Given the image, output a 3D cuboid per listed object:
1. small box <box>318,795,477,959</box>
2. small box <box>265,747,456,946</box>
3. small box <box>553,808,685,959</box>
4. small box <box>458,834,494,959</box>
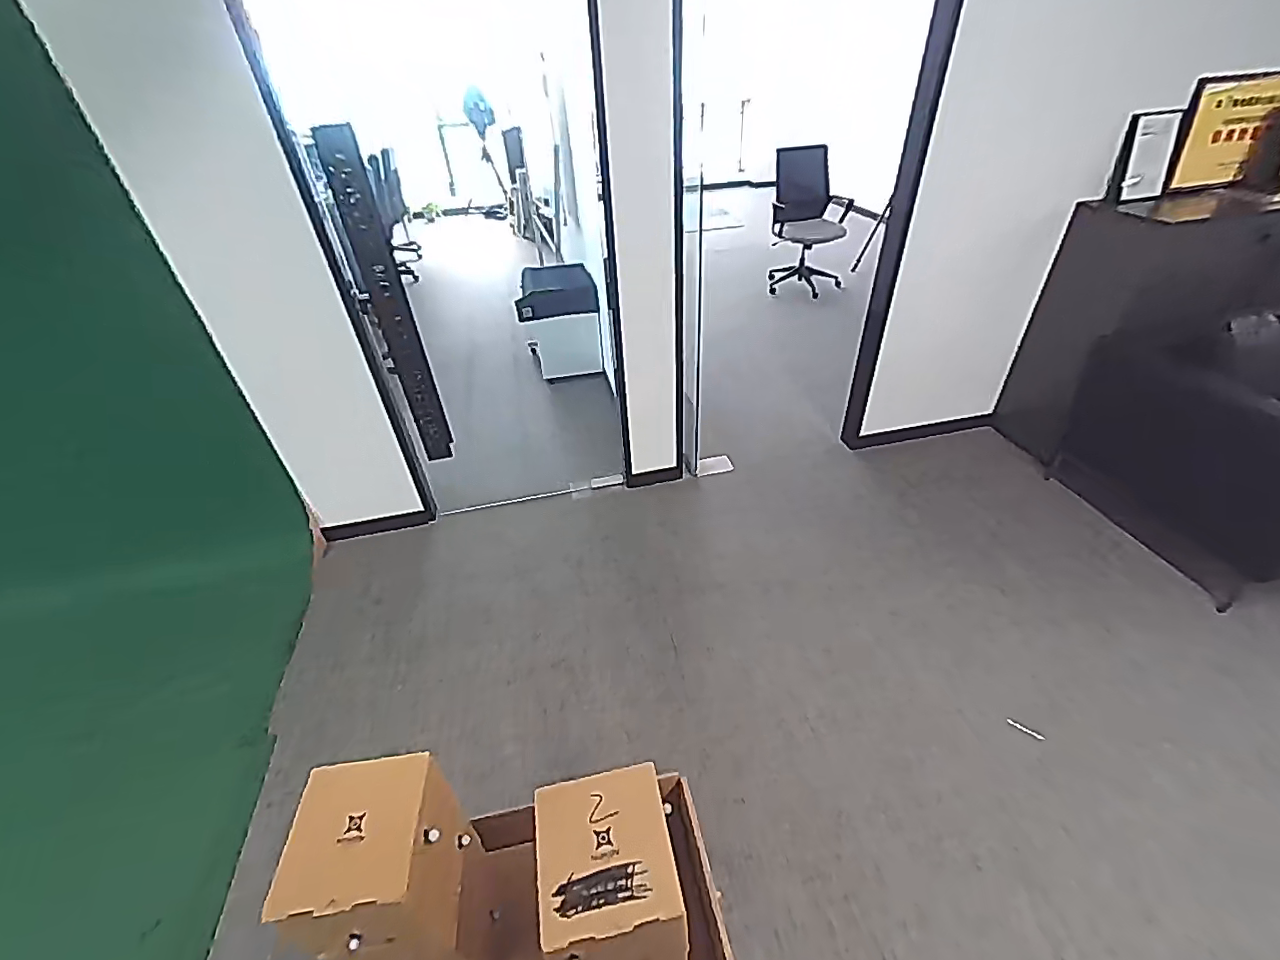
[{"bbox_3d":[-0.360,0.631,0.846,0.168,0.176,0.179,-7,38,-4],"label":"small box"},{"bbox_3d":[-0.364,0.503,0.747,0.168,0.176,0.179,-6,39,-4],"label":"small box"},{"bbox_3d":[-0.035,0.639,0.814,0.168,0.176,0.179,-10,39,-8],"label":"small box"},{"bbox_3d":[-0.355,0.761,0.945,0.168,0.176,0.179,-7,38,-6],"label":"small box"}]
